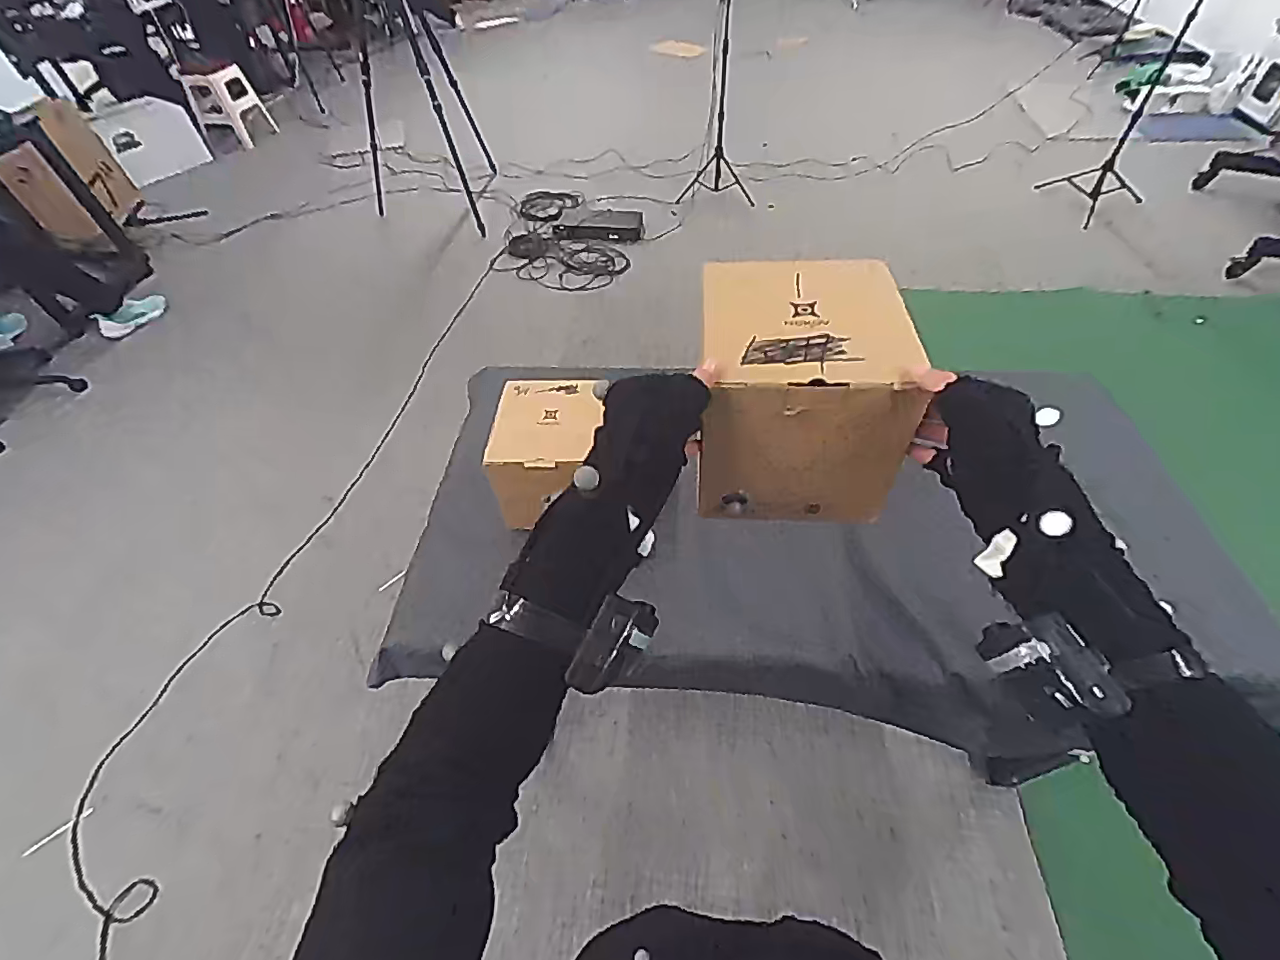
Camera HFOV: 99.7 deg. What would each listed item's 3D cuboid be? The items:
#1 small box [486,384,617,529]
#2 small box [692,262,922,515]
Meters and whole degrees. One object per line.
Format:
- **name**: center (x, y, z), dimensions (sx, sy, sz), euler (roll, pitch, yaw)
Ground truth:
- **small box**: center (-0.130, -0.034, 0.873), dimensions (0.168, 0.176, 0.179), euler (0, 51, 4)
- **small box**: center (0.135, -0.081, 0.508), dimensions (0.168, 0.176, 0.179), euler (1, 49, 5)
